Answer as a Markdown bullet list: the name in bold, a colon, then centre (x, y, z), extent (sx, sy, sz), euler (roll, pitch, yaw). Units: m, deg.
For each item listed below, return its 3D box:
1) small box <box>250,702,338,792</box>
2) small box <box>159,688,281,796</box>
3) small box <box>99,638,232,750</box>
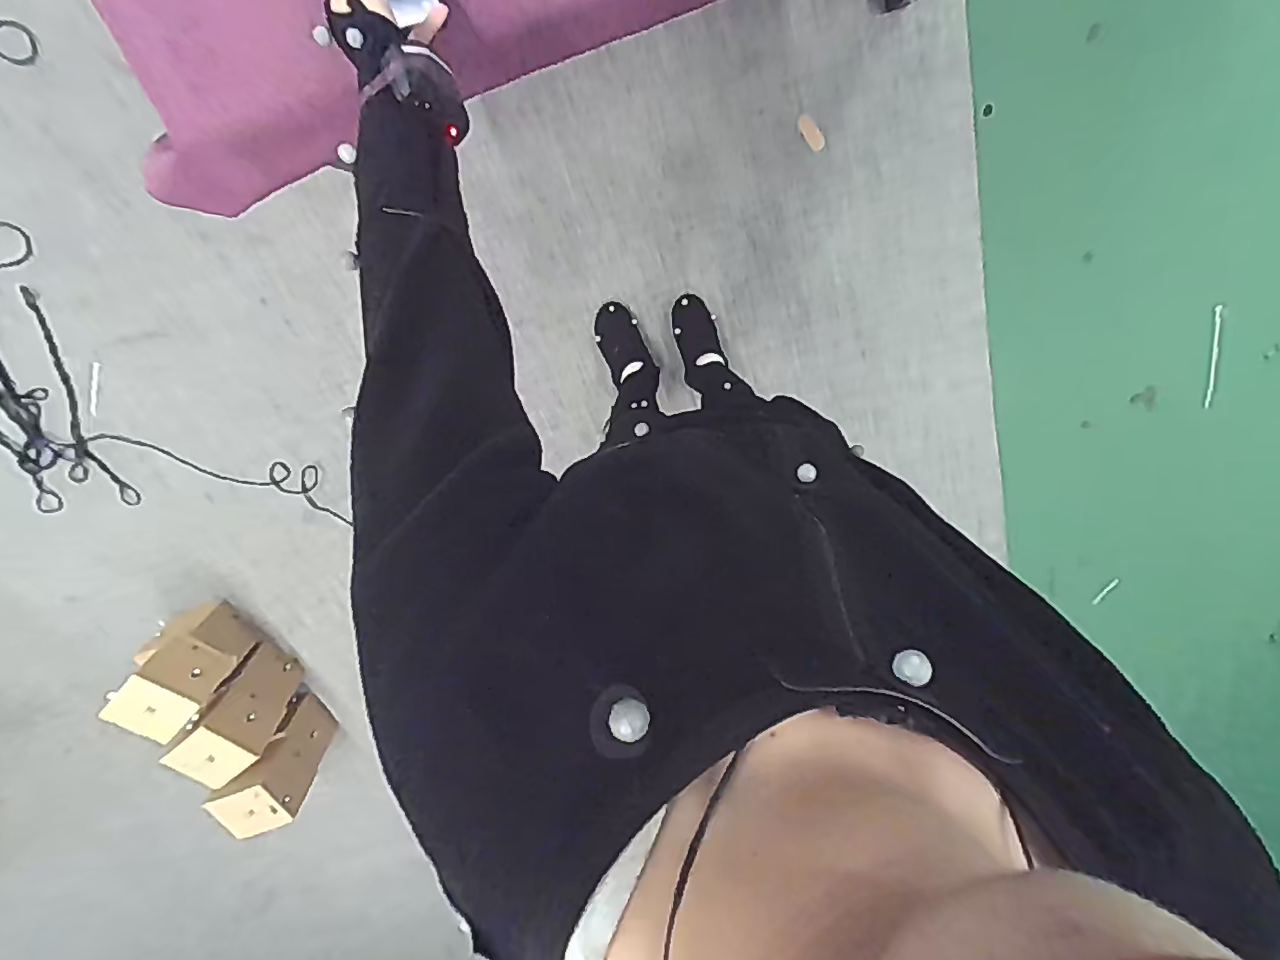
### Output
- **small box**: centre (-1.098, 0.828, 1.698), extent (0.168, 0.176, 0.179), euler (-20, 115, 4)
- **small box**: centre (-1.120, 0.703, 1.465), extent (0.179, 0.176, 0.168), euler (-36, 112, 10)
- **small box**: centre (-1.199, 0.541, 1.385), extent (0.168, 0.176, 0.179), euler (41, 104, -20)
